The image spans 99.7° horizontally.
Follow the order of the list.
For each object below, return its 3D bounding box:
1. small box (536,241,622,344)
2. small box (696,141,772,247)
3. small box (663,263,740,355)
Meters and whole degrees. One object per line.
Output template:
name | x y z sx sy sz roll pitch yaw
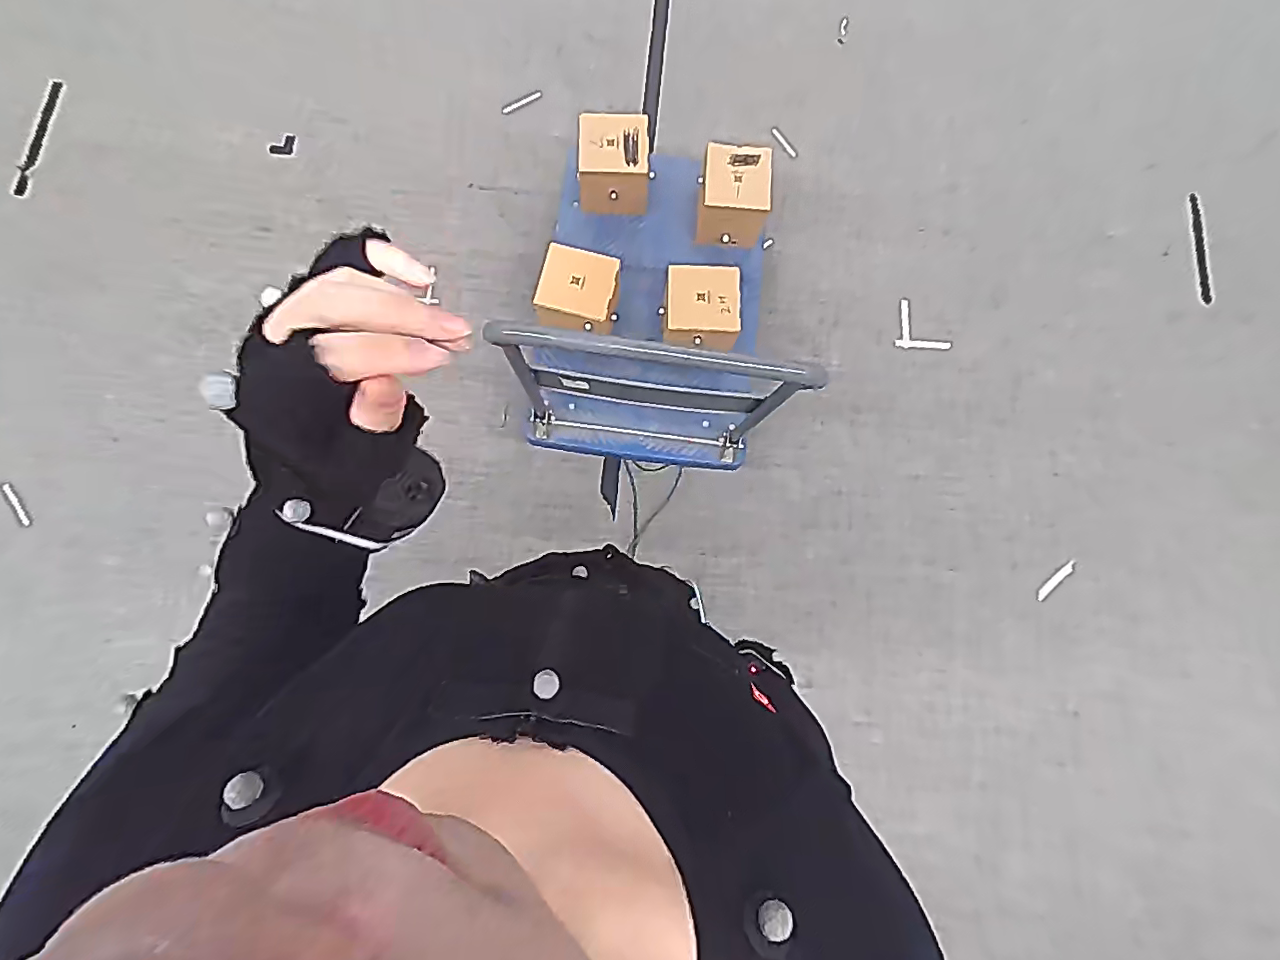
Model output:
small box | -0.150 -0.466 1.368 0.179 0.176 0.168 13 80 -2
small box | 0.244 -0.751 1.430 0.168 0.176 0.179 4 82 -1
small box | 0.151 -0.428 1.375 0.179 0.176 0.168 2 81 -2
